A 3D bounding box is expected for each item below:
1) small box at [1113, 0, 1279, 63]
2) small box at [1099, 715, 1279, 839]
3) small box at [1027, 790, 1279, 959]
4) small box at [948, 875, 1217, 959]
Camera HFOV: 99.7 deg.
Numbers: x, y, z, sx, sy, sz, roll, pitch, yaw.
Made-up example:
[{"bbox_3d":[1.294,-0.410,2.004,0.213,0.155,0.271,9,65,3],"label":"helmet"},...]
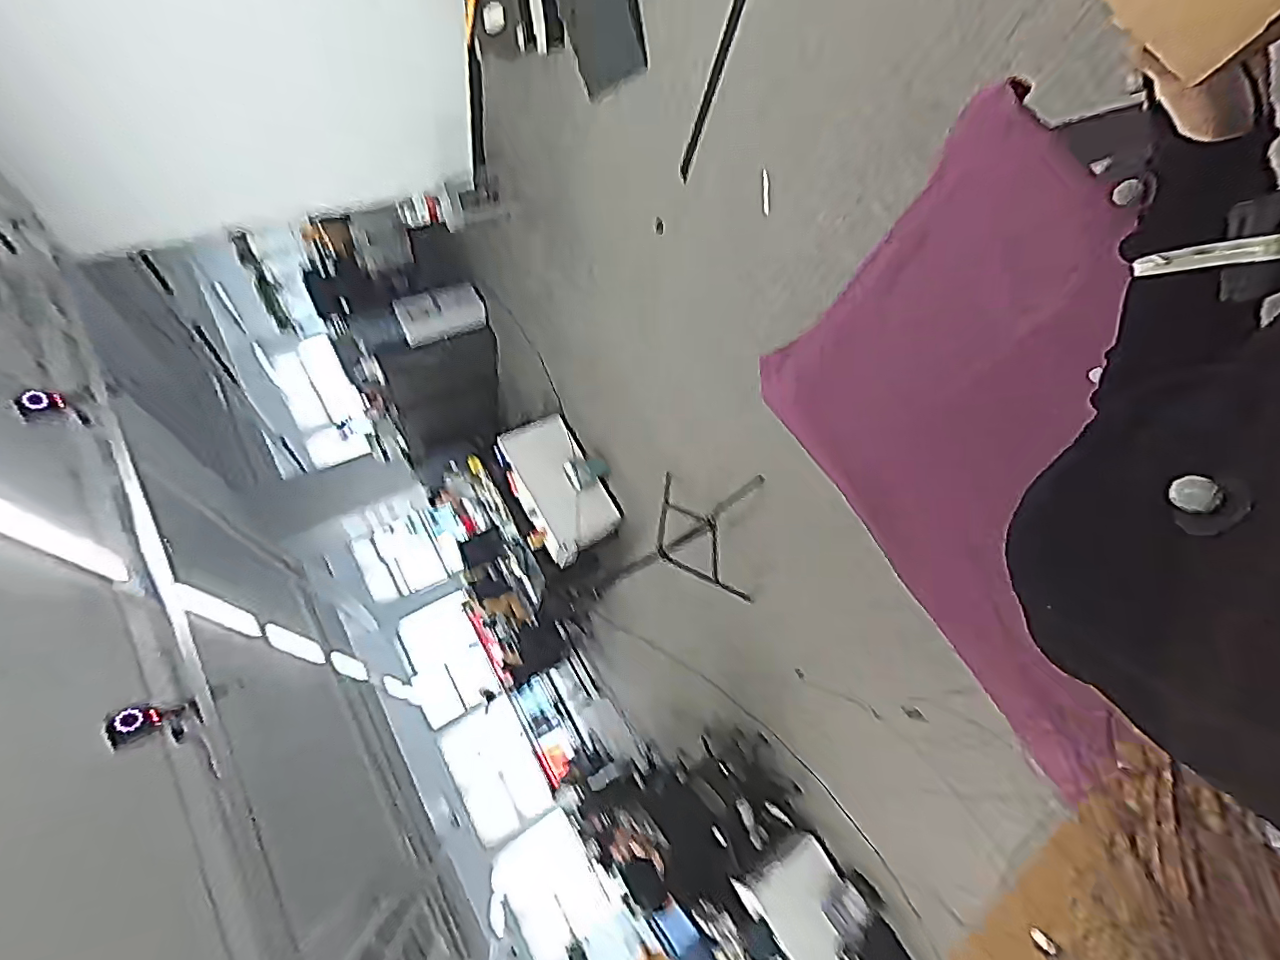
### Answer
[{"bbox_3d":[0.305,-0.334,0.223,0.179,0.176,0.168,57,165,5],"label":"small box"},{"bbox_3d":[0.735,0.406,0.657,0.168,0.176,0.179,58,156,13],"label":"small box"},{"bbox_3d":[0.599,0.475,0.598,0.168,0.176,0.179,58,157,14],"label":"small box"},{"bbox_3d":[0.461,0.537,0.532,0.168,0.176,0.179,58,156,13],"label":"small box"}]
